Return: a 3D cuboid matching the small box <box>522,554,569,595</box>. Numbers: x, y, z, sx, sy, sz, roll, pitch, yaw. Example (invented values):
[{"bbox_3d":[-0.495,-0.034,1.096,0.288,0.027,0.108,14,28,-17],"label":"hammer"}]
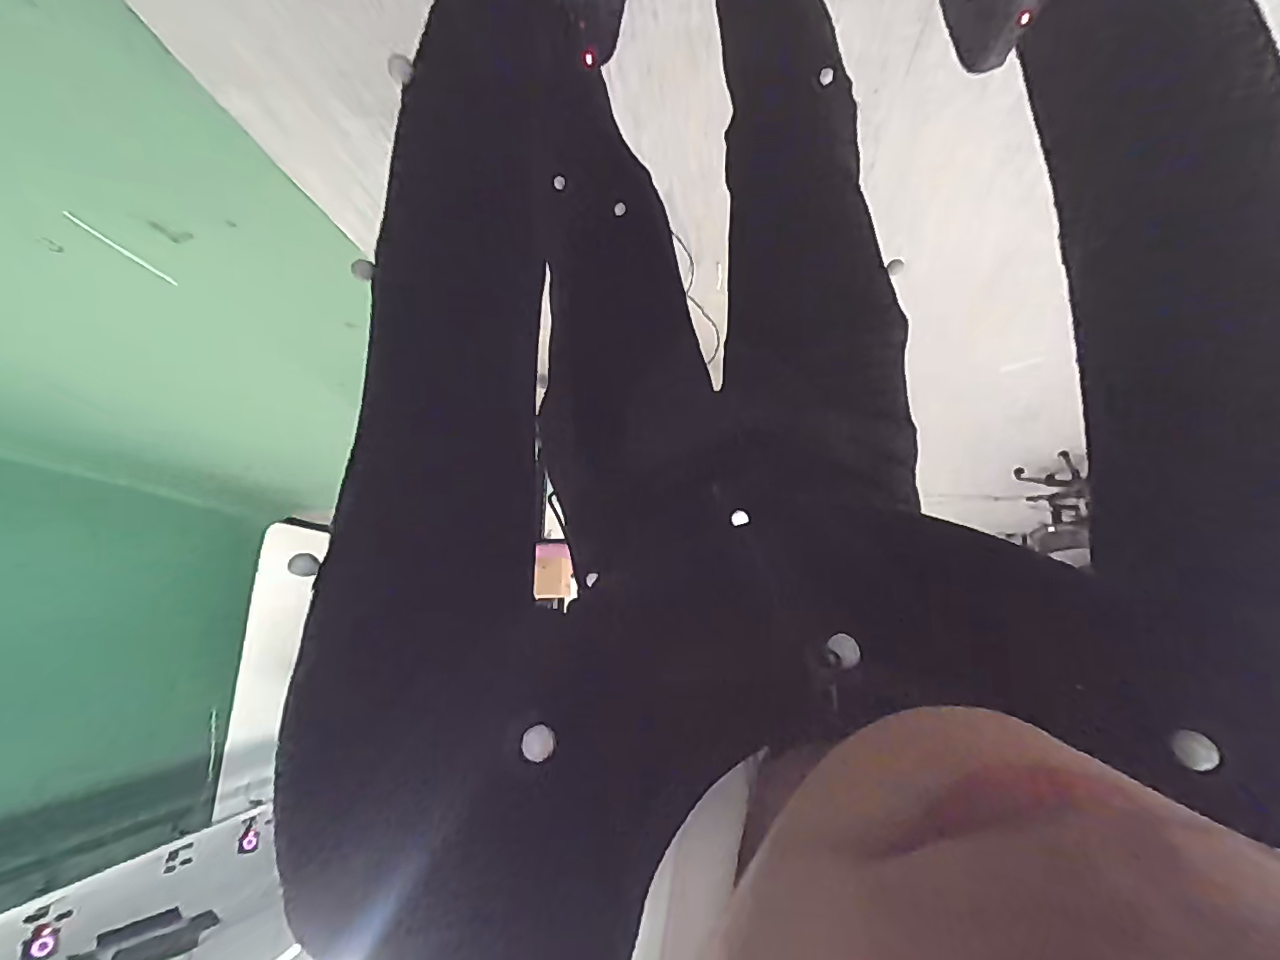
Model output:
[{"bbox_3d":[-0.408,0.418,2.369,0.168,0.176,0.179,-2,166,5],"label":"small box"}]
